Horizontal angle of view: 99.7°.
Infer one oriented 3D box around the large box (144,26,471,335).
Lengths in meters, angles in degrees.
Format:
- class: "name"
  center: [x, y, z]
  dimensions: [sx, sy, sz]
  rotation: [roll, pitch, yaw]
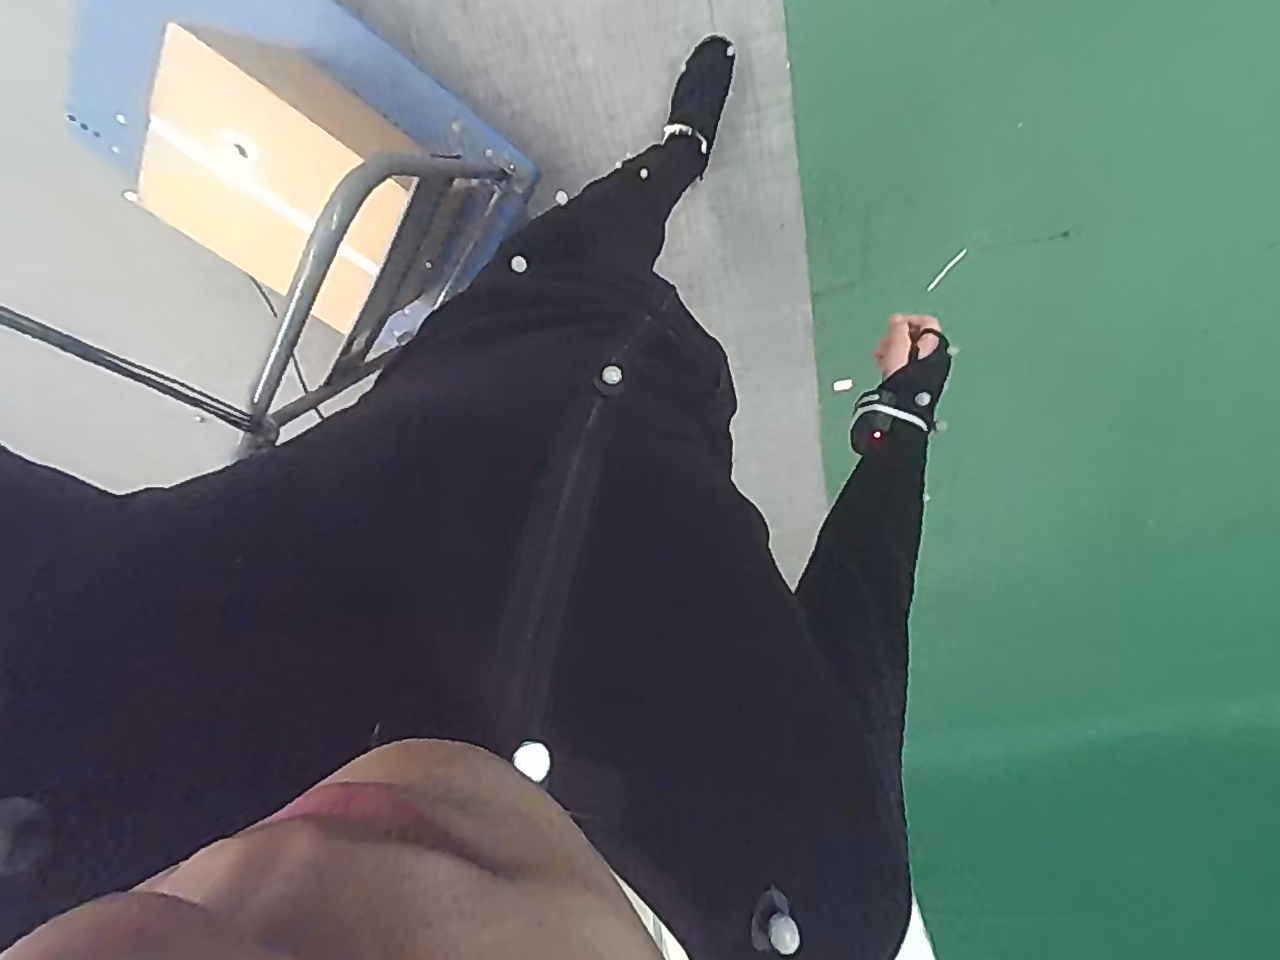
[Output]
- class: "large box"
  center: [-0.617, -0.562, 1.061]
  dimensions: [0.408, 0.320, 0.320]
  rotation: [34, 118, -16]
